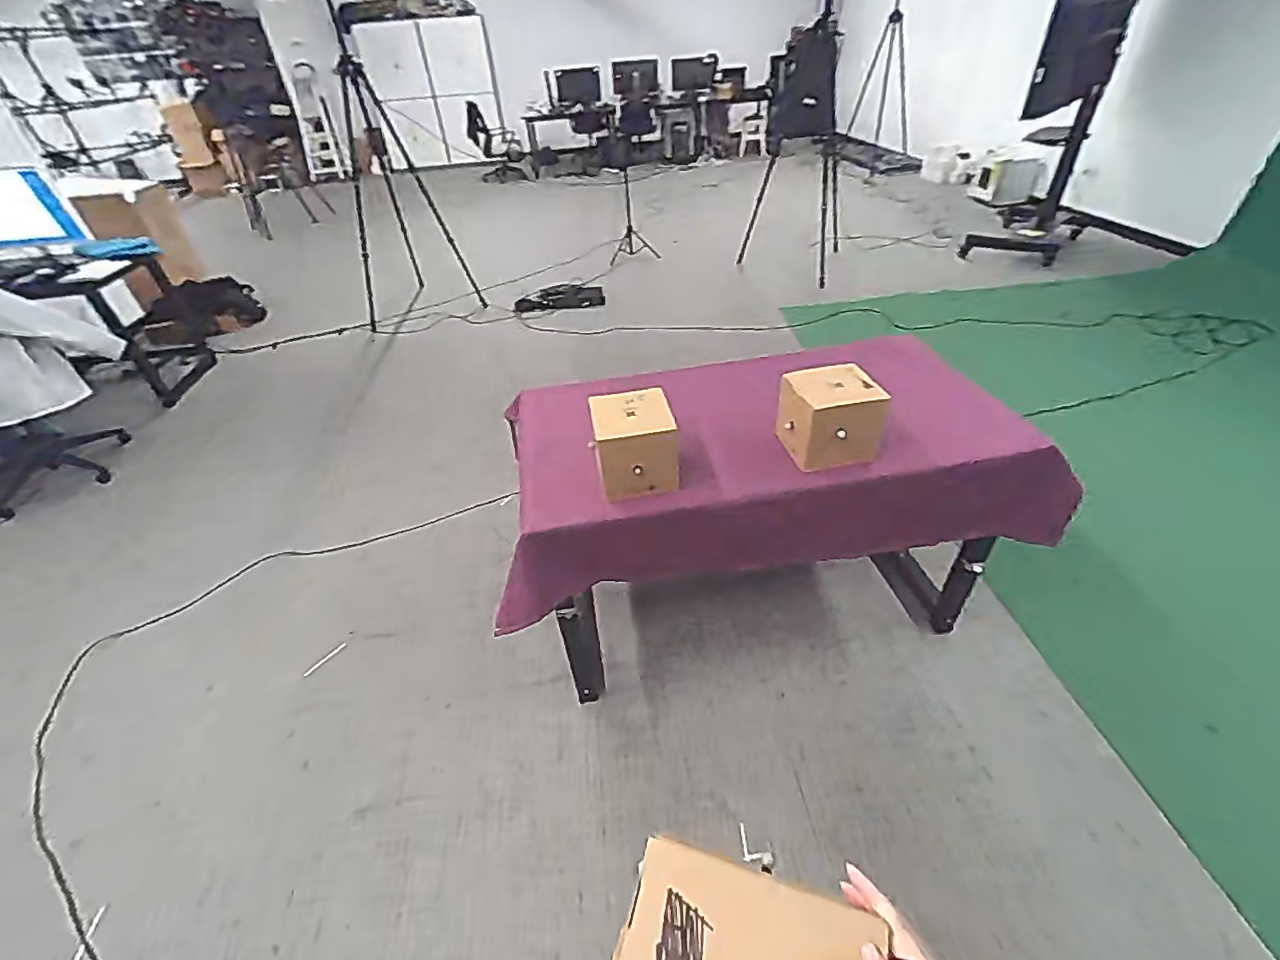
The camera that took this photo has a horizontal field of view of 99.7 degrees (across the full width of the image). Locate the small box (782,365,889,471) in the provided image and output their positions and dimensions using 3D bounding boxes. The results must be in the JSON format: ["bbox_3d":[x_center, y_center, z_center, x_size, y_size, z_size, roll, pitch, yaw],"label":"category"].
[{"bbox_3d":[0.431,-0.138,1.226,0.179,0.176,0.168,-10,39,-5],"label":"small box"}]

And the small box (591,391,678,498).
[{"bbox_3d":[-0.011,-0.074,1.197,0.168,0.176,0.179,-8,39,-5],"label":"small box"}]
